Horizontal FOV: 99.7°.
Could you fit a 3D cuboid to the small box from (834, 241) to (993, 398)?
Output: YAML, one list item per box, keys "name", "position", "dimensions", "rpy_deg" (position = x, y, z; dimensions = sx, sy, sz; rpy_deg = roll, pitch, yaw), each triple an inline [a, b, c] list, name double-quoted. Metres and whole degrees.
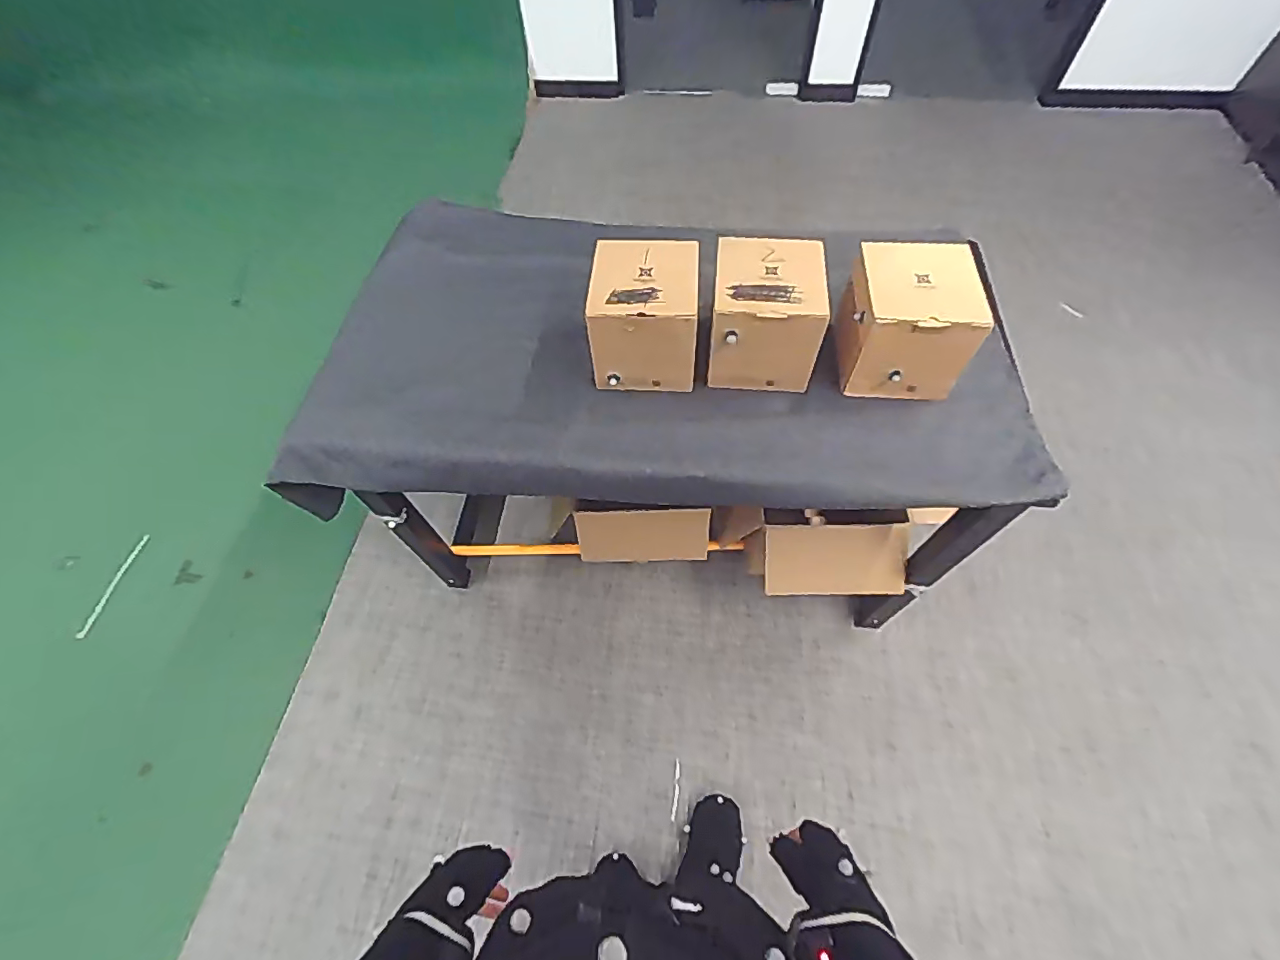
- name: "small box"
  position: [0.421, -0.256, 0.869]
  dimensions: [0.168, 0.176, 0.179]
  rpy_deg: [3, 60, 5]

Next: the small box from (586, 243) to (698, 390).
- name: "small box"
  position: [0.010, -0.266, 0.896]
  dimensions: [0.168, 0.176, 0.179]
  rpy_deg: [2, 59, 3]
